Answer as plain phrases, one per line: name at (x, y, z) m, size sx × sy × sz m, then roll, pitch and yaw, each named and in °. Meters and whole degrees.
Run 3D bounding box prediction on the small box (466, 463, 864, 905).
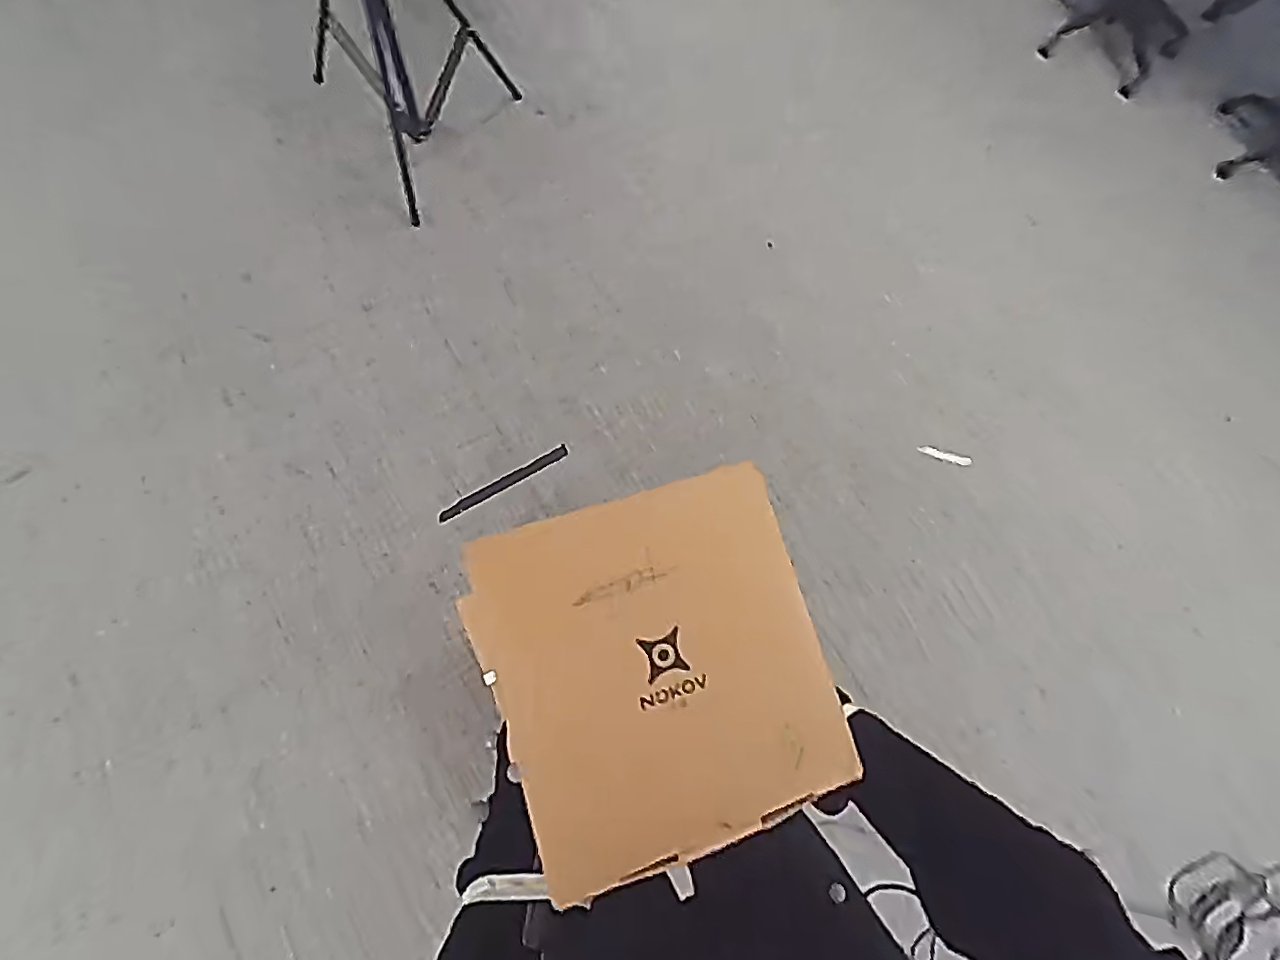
small box at (0.002, 0.107, 0.349) m, size 0.168 × 0.176 × 0.179 m, roll -16°, pitch 81°, yaw -13°
